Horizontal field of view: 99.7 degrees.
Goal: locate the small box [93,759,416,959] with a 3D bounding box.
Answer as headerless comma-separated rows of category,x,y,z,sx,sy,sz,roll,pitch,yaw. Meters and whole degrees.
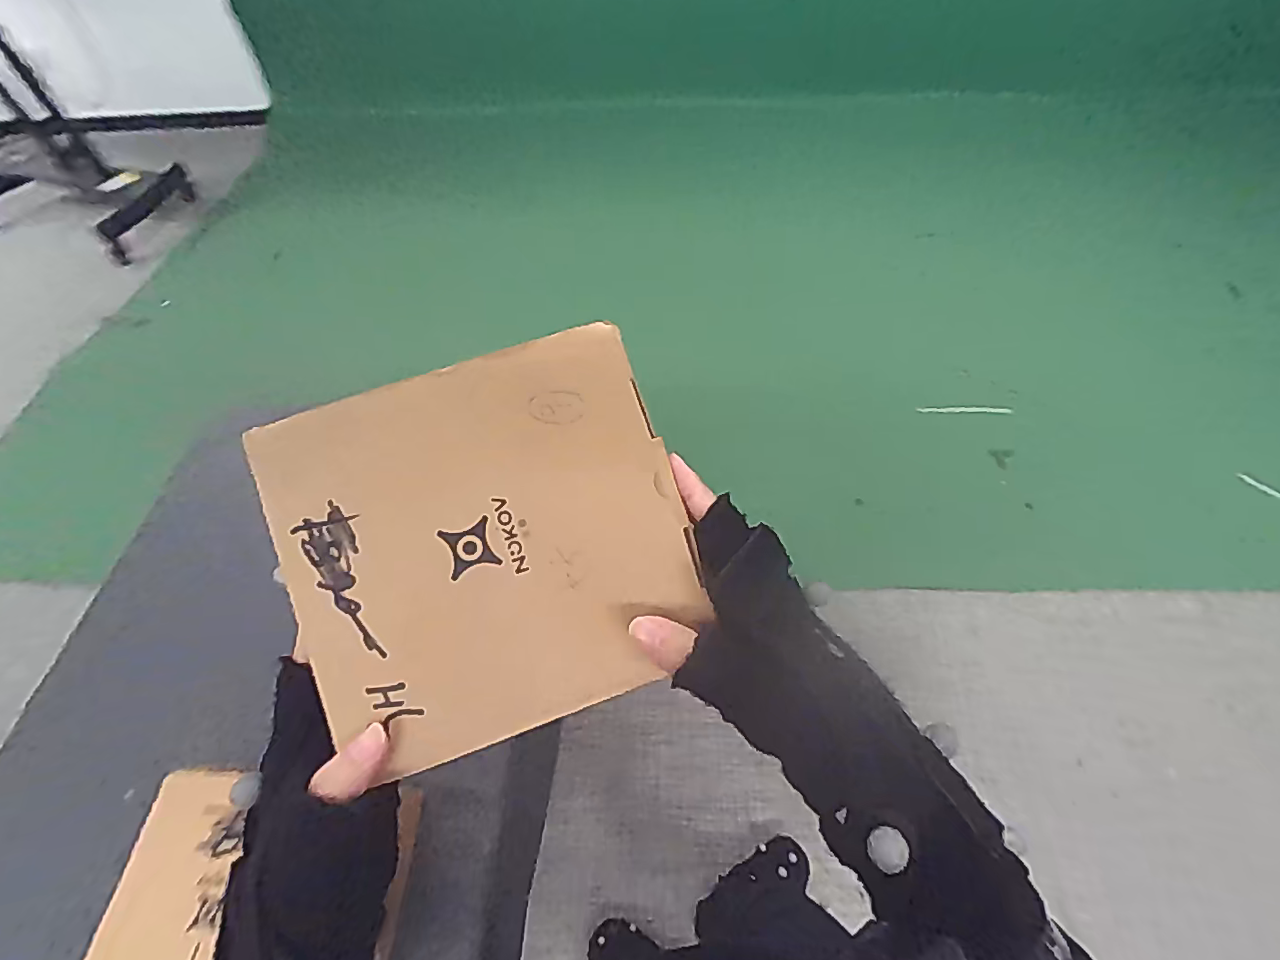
small box,-0.325,0.369,0.494,0.168,0.176,0.179,-3,54,1

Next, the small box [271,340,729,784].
small box,-0.070,0.039,0.328,0.179,0.176,0.168,-17,86,-6
